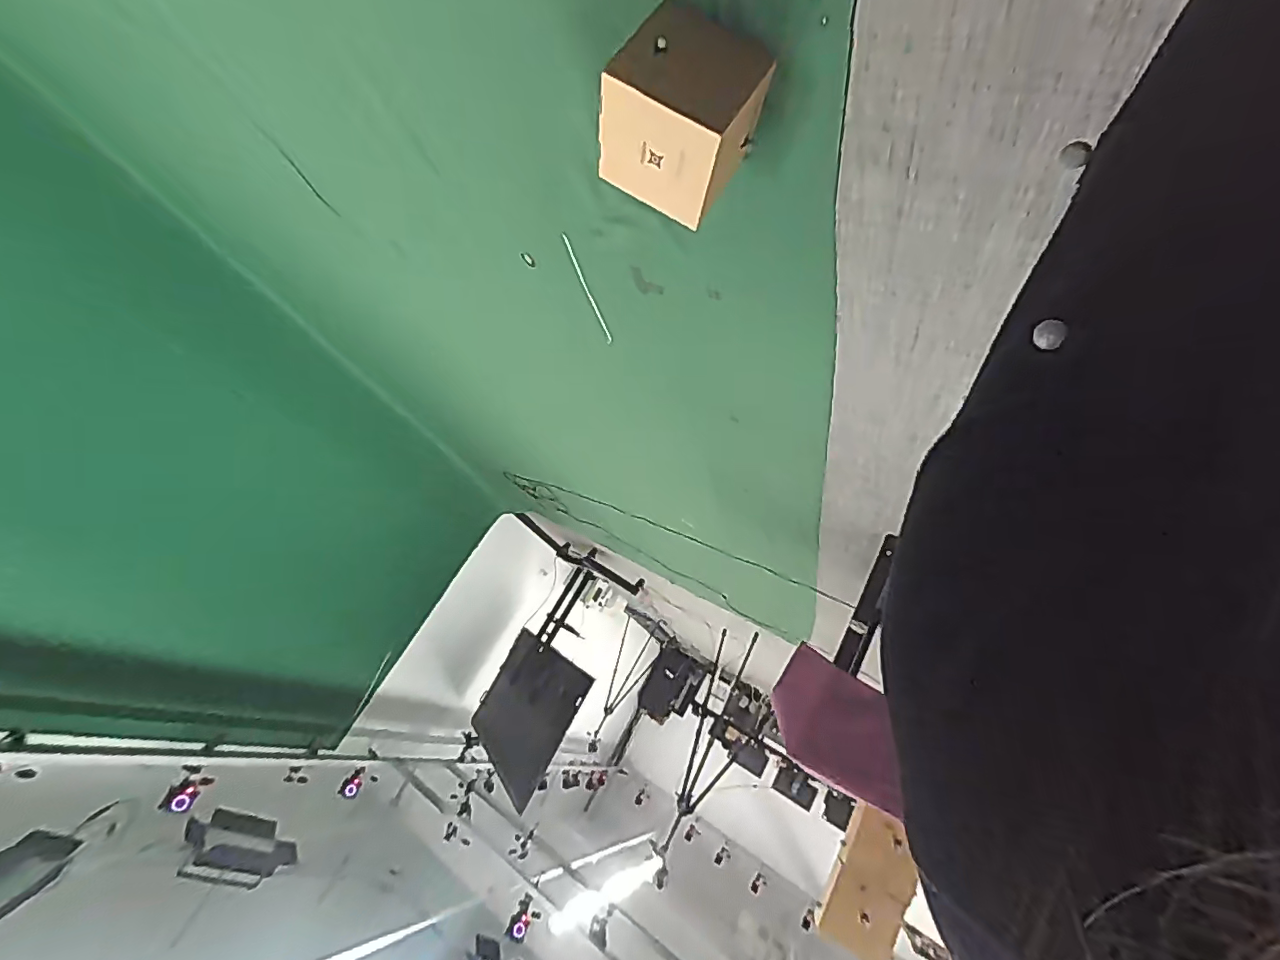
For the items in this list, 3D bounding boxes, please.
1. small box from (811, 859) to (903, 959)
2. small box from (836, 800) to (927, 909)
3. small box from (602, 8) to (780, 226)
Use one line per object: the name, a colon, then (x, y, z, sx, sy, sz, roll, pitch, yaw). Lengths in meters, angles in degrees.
small box: (0.560, 1.122, 1.399, 0.168, 0.176, 0.179, 24, 161, 25)
small box: (0.644, 0.989, 1.448, 0.168, 0.176, 0.179, 24, 160, 24)
small box: (0.066, -0.514, 0.768, 0.179, 0.176, 0.168, 31, 163, 3)
